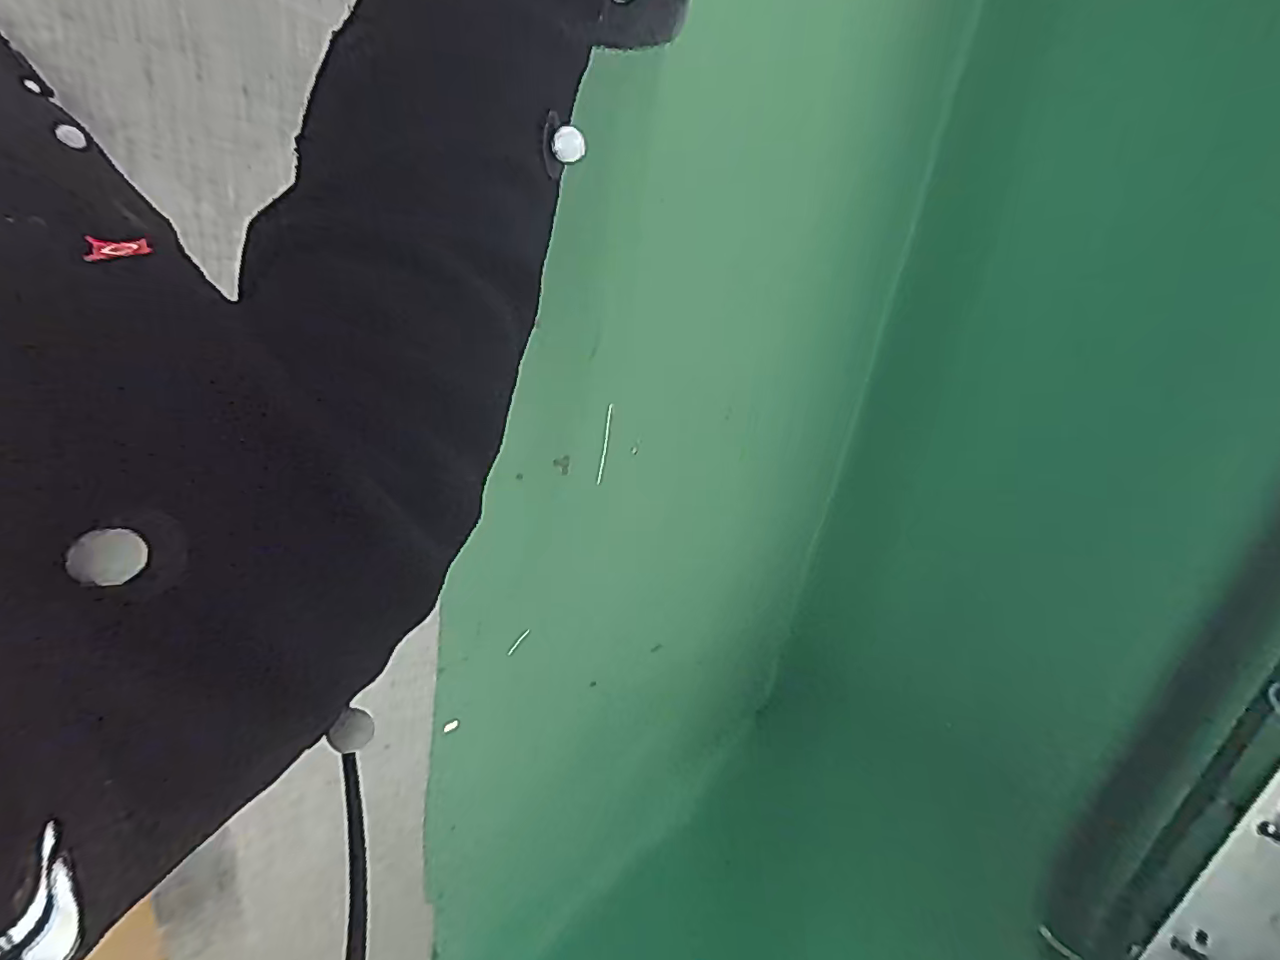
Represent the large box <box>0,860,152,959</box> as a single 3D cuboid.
[{"bbox_3d":[-1.298,1.130,1.127,0.408,0.320,0.320,-12,119,-46],"label":"large box"}]
